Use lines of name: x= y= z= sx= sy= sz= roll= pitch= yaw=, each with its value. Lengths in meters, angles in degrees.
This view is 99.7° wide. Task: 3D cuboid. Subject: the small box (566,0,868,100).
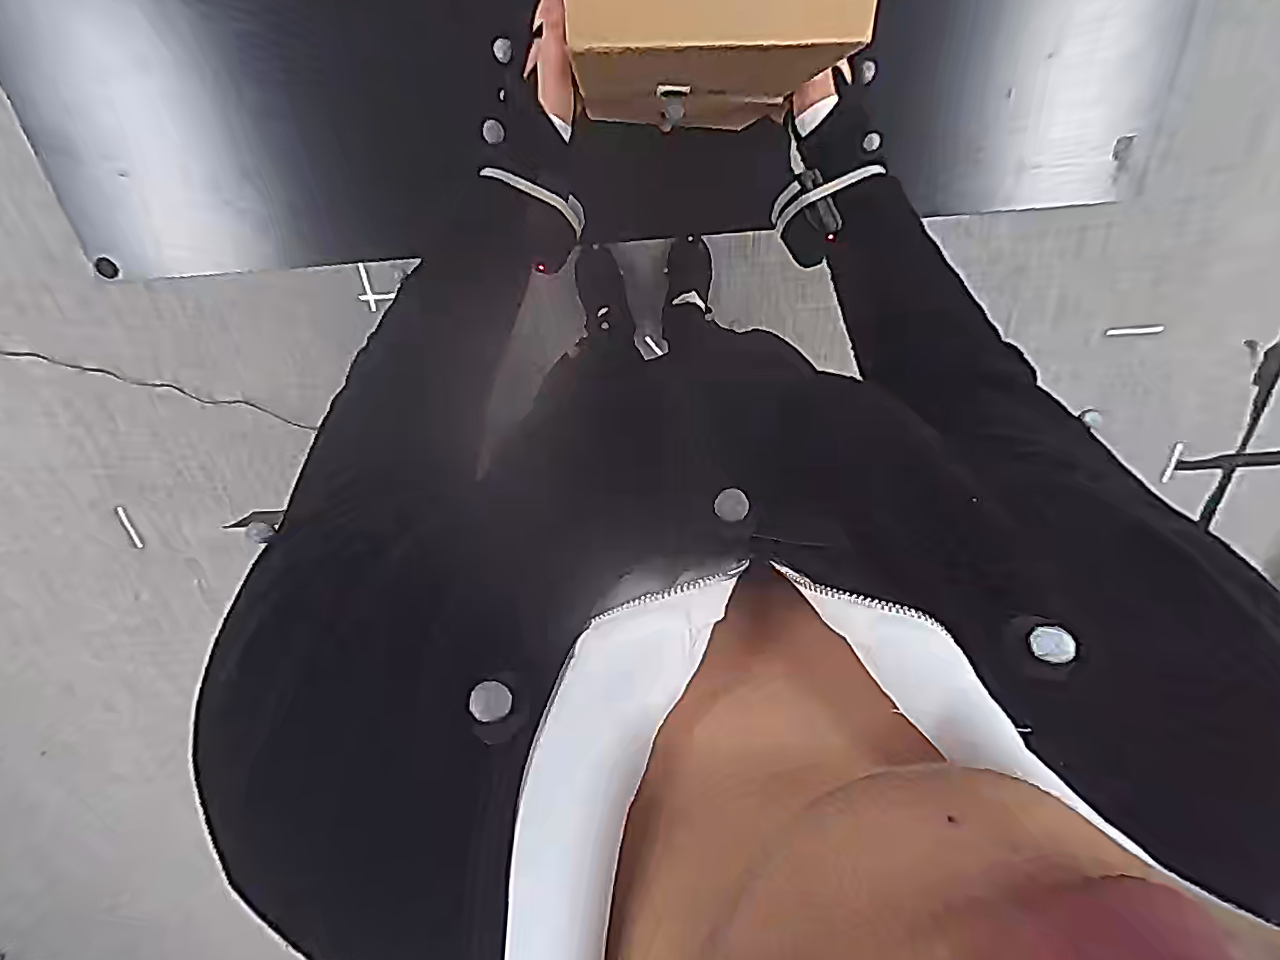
small box: x=0.037 y=-0.352 z=0.330 sx=0.168 sy=0.176 sz=0.179 roll=-2 pitch=118 yaw=-1

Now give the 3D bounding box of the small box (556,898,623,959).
small box: x=-0.155 y=1.482 z=1.726 sx=0.179 sy=0.176 sz=0.168 roll=-11 pitch=114 yaw=4
